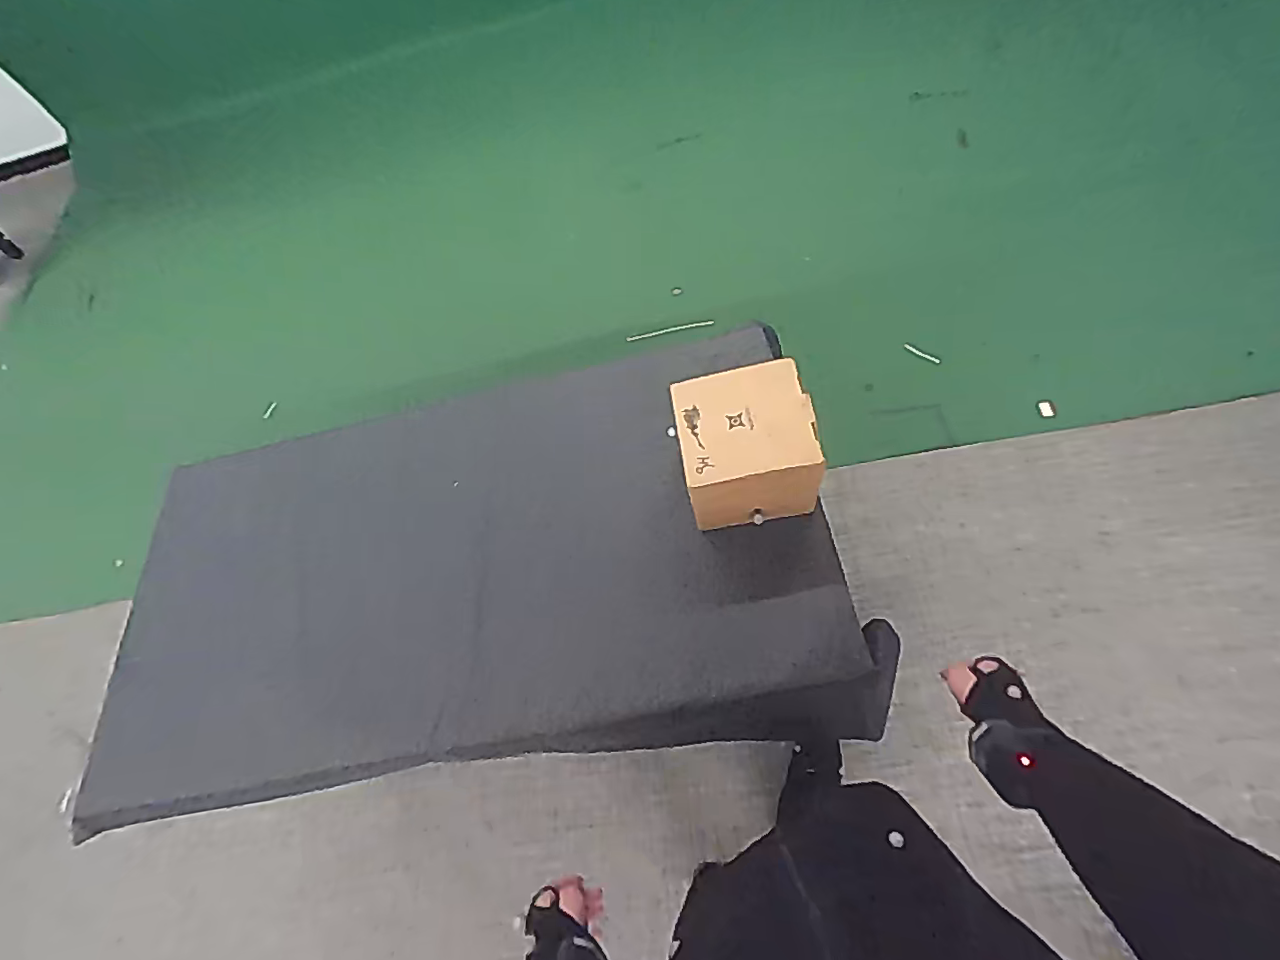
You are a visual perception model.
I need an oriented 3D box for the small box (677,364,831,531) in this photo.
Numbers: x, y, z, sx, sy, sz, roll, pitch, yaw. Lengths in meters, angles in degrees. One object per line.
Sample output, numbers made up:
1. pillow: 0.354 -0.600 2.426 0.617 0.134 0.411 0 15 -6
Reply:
1. small box: 0.154 -0.039 0.778 0.179 0.176 0.168 -10 62 5
